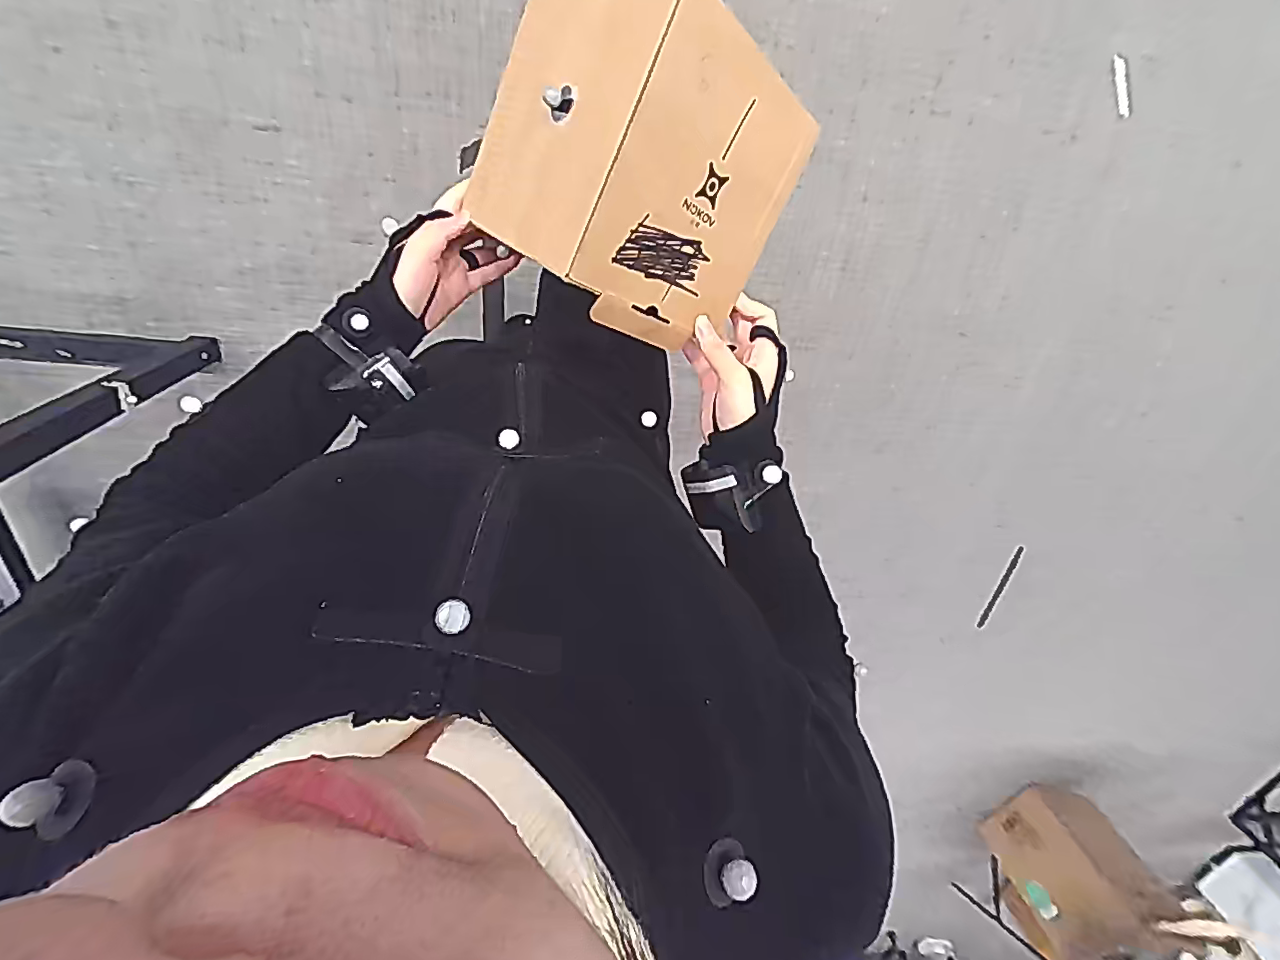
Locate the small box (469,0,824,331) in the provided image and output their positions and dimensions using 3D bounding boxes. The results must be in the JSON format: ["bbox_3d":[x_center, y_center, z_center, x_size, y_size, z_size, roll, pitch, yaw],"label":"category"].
[{"bbox_3d":[-0.005,-0.242,0.406,0.168,0.176,0.179,6,117,-49],"label":"small box"}]
